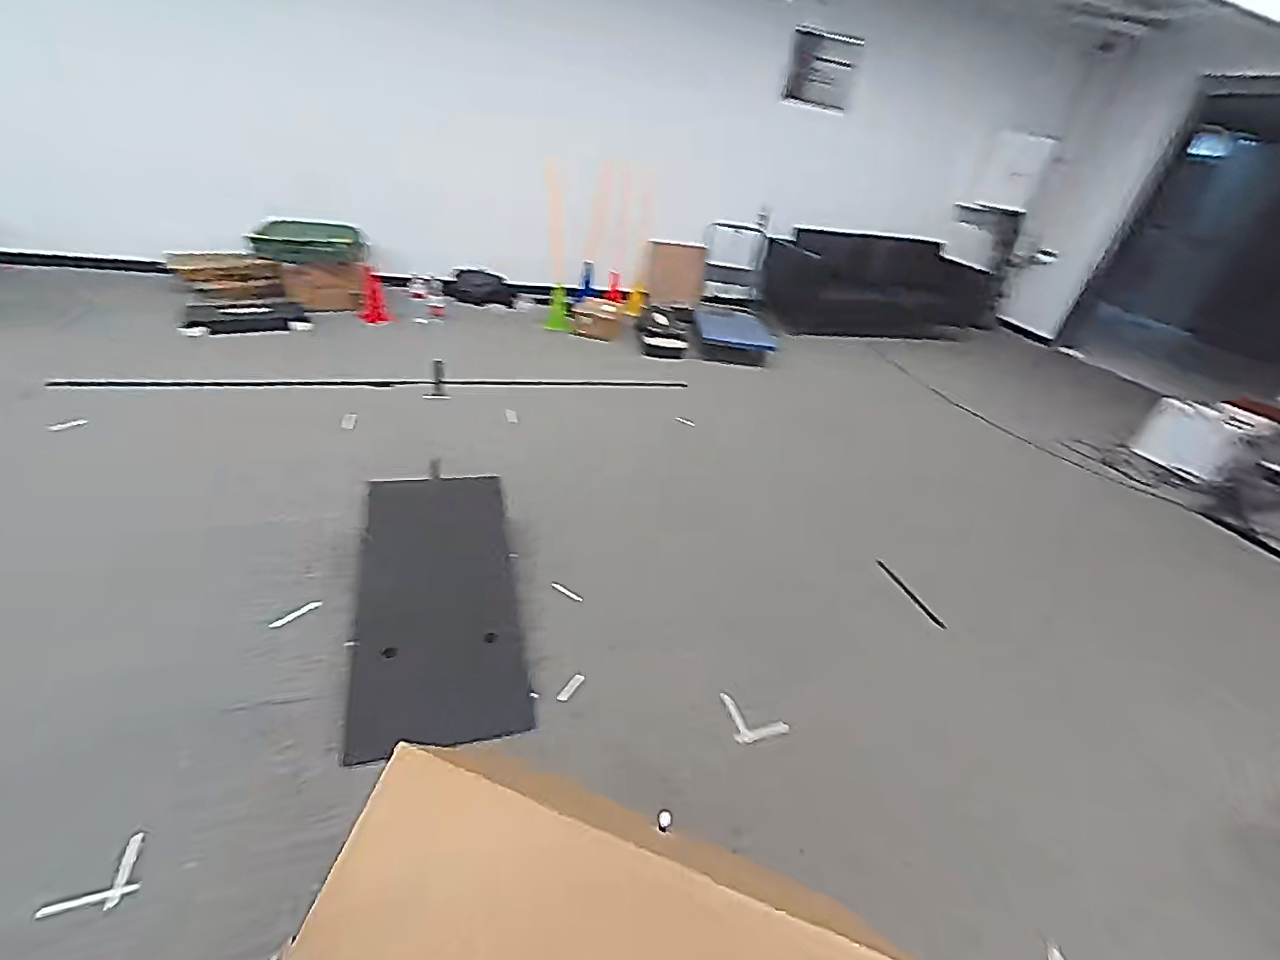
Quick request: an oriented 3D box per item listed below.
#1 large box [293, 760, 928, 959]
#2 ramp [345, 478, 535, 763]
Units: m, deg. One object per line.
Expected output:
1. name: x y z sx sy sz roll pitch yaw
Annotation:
1. large box: -0.043 0.453 0.432 0.408 0.320 0.320 17 64 8
2. ramp: -0.649 0.359 1.773 0.509 0.206 0.991 -3 36 -21
